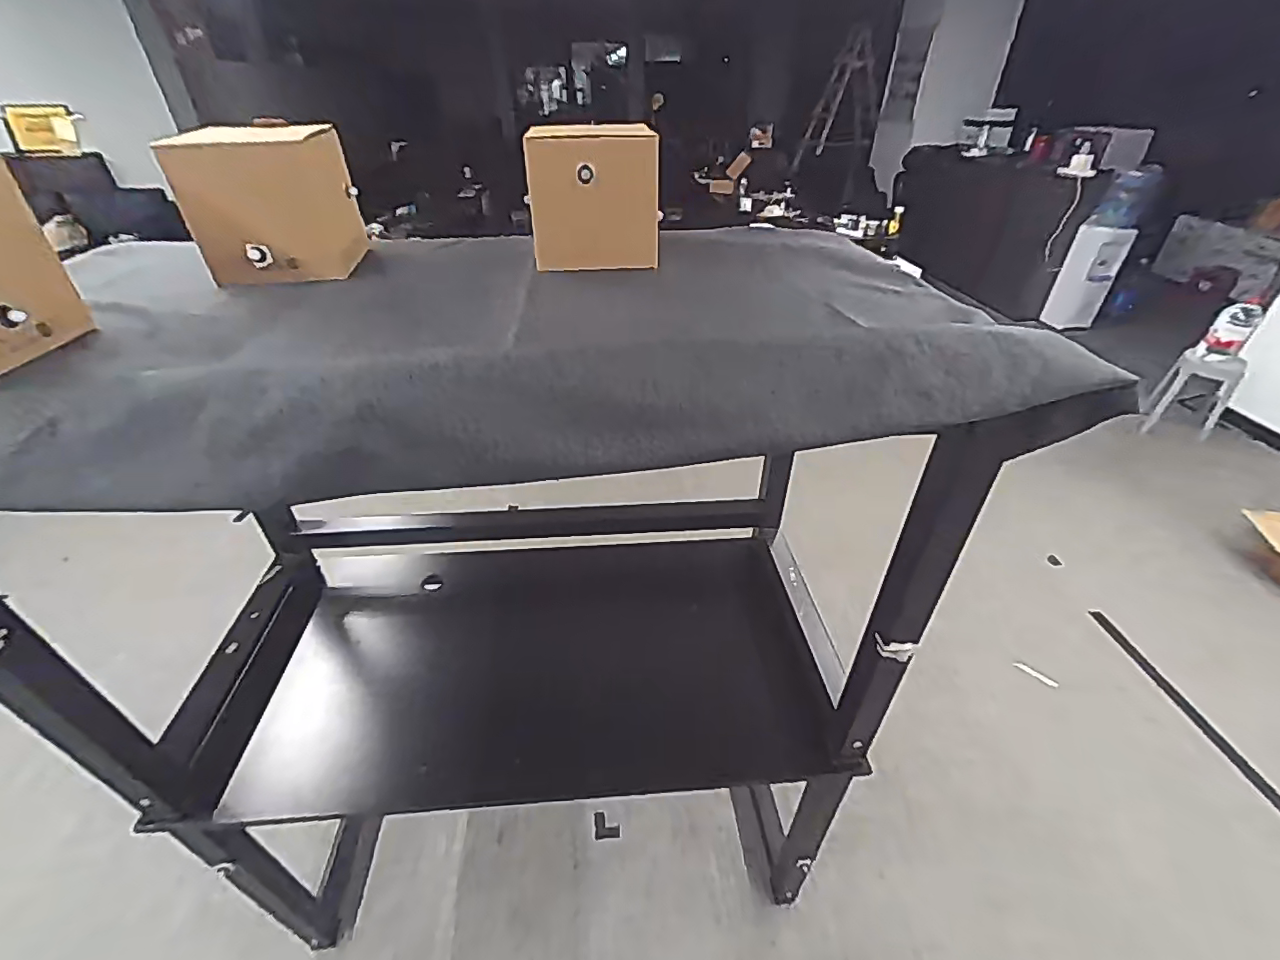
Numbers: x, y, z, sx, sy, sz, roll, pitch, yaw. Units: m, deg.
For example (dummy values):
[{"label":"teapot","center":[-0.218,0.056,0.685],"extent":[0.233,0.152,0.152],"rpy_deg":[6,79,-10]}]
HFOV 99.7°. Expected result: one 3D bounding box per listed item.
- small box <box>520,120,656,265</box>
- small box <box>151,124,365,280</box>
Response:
[{"label":"small box","center":[-0.069,-0.421,0.792],"extent":[0.179,0.176,0.168],"rpy_deg":[-3,37,-4]},{"label":"small box","center":[-0.499,-0.384,0.744],"extent":[0.168,0.176,0.179],"rpy_deg":[-8,37,-9]}]
